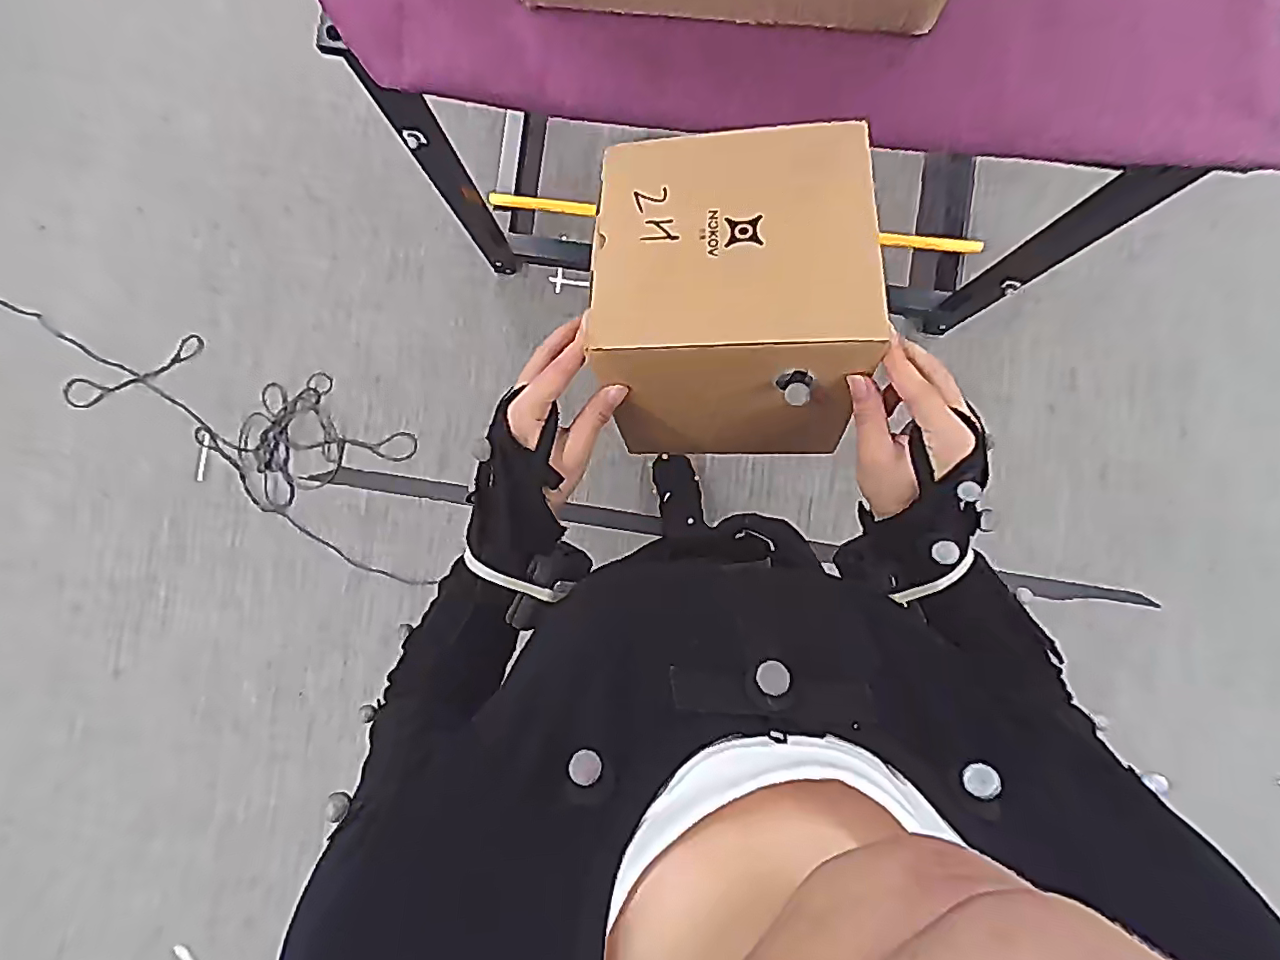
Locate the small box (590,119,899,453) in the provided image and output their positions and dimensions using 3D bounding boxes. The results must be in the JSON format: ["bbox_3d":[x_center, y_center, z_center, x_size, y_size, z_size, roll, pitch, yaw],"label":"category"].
[{"bbox_3d":[0.072,-0.126,0.406,0.179,0.176,0.168,0,70,10],"label":"small box"}]
